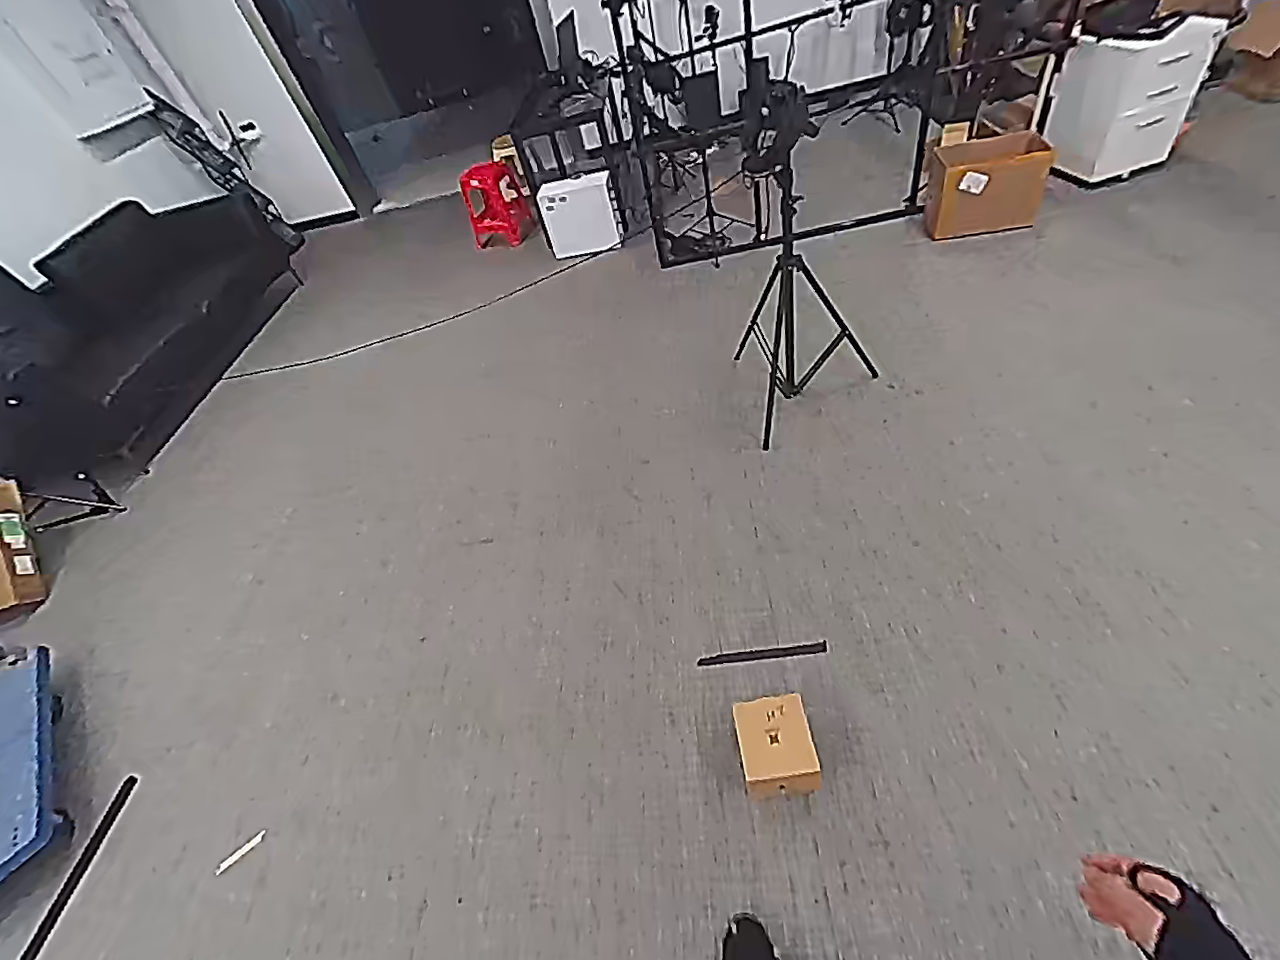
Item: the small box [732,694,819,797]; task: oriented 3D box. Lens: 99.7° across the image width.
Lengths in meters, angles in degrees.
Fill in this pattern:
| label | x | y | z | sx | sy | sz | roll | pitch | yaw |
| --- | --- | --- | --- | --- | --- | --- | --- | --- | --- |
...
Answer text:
| label | x | y | z | sx | sy | sz | roll | pitch | yaw |
| --- | --- | --- | --- | --- | --- | --- | --- | --- | --- |
| small box | 0.323 | 0.637 | 1.288 | 0.168 | 0.176 | 0.179 | -11 | 46 | 6 |
